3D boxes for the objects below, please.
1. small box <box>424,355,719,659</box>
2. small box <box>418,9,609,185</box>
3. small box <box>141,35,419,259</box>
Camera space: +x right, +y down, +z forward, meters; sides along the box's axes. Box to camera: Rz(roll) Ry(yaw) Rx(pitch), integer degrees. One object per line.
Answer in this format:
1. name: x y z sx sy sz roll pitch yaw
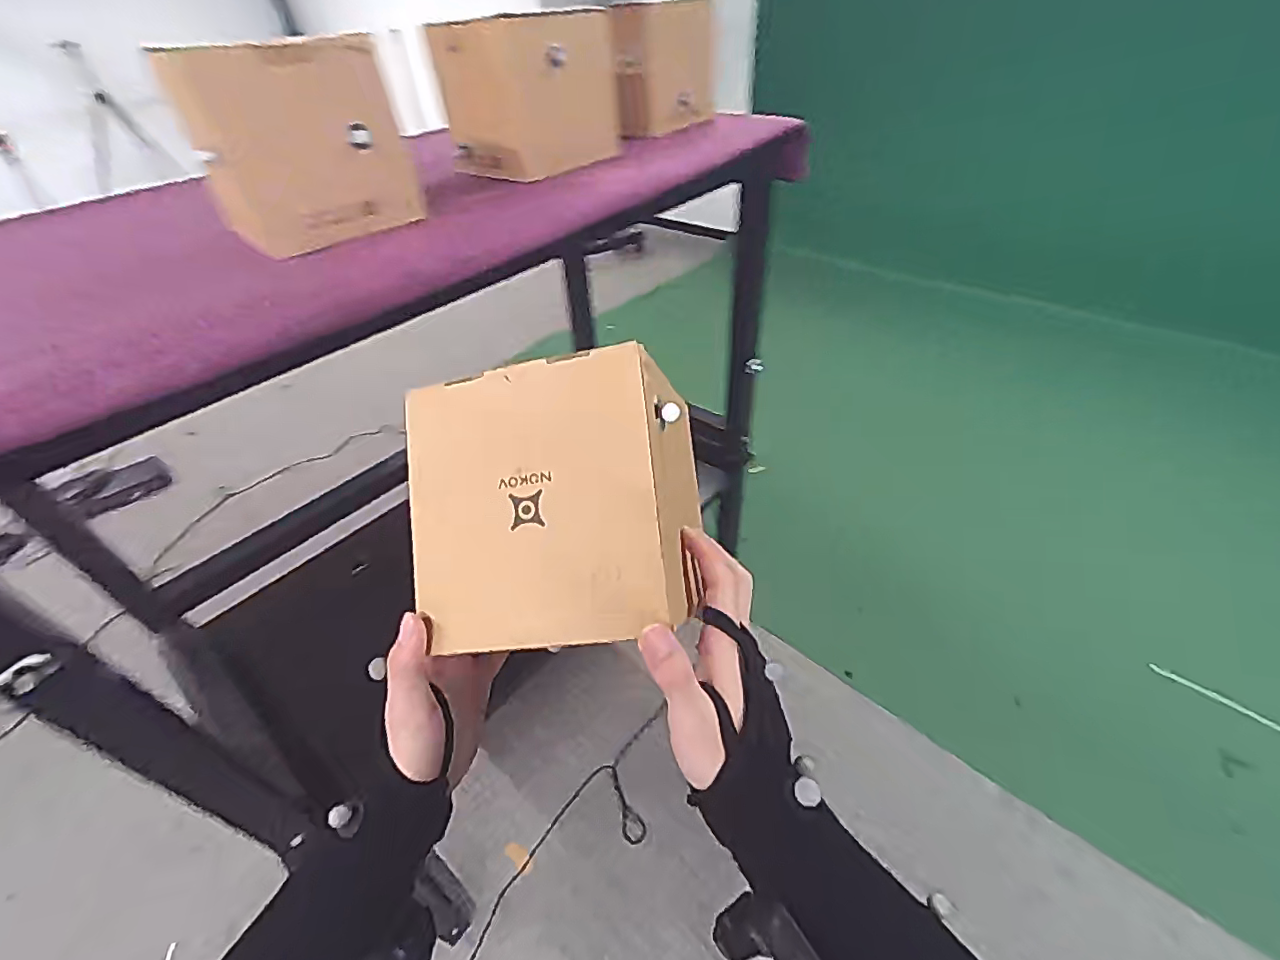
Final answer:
1. small box: -0.039 0.027 0.412 0.168 0.176 0.179 -8 81 14
2. small box: -0.158 -0.515 0.733 0.168 0.176 0.179 27 50 31
3. small box: -0.362 -0.348 0.566 0.168 0.176 0.179 -34 49 -29
